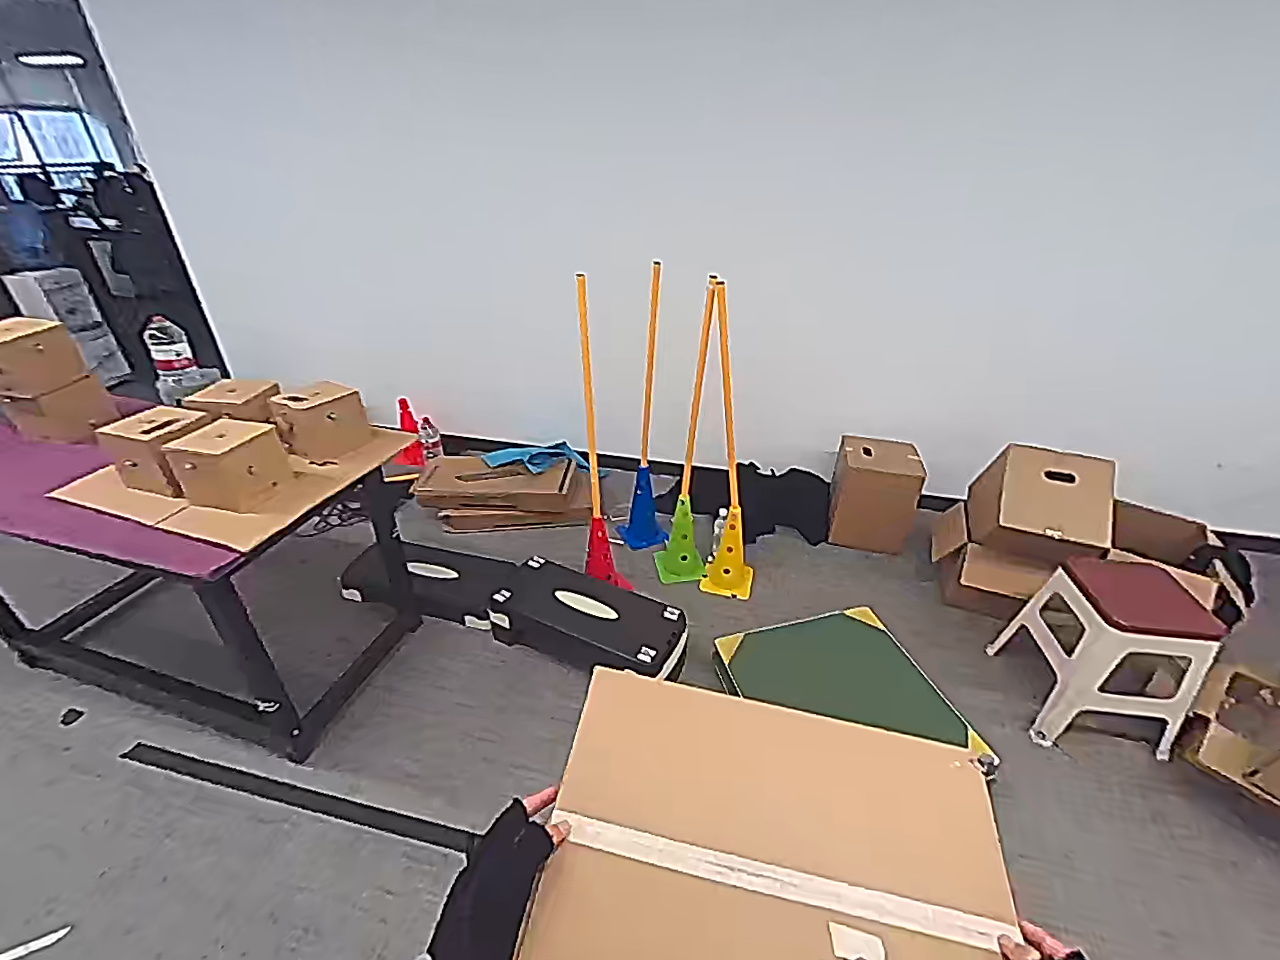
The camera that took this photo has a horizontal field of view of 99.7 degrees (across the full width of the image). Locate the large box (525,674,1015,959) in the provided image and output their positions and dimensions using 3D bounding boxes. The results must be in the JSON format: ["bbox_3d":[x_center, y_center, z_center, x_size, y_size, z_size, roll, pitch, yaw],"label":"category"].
[{"bbox_3d":[0.113,0.461,0.587,0.408,0.320,0.320,10,45,7],"label":"large box"}]
